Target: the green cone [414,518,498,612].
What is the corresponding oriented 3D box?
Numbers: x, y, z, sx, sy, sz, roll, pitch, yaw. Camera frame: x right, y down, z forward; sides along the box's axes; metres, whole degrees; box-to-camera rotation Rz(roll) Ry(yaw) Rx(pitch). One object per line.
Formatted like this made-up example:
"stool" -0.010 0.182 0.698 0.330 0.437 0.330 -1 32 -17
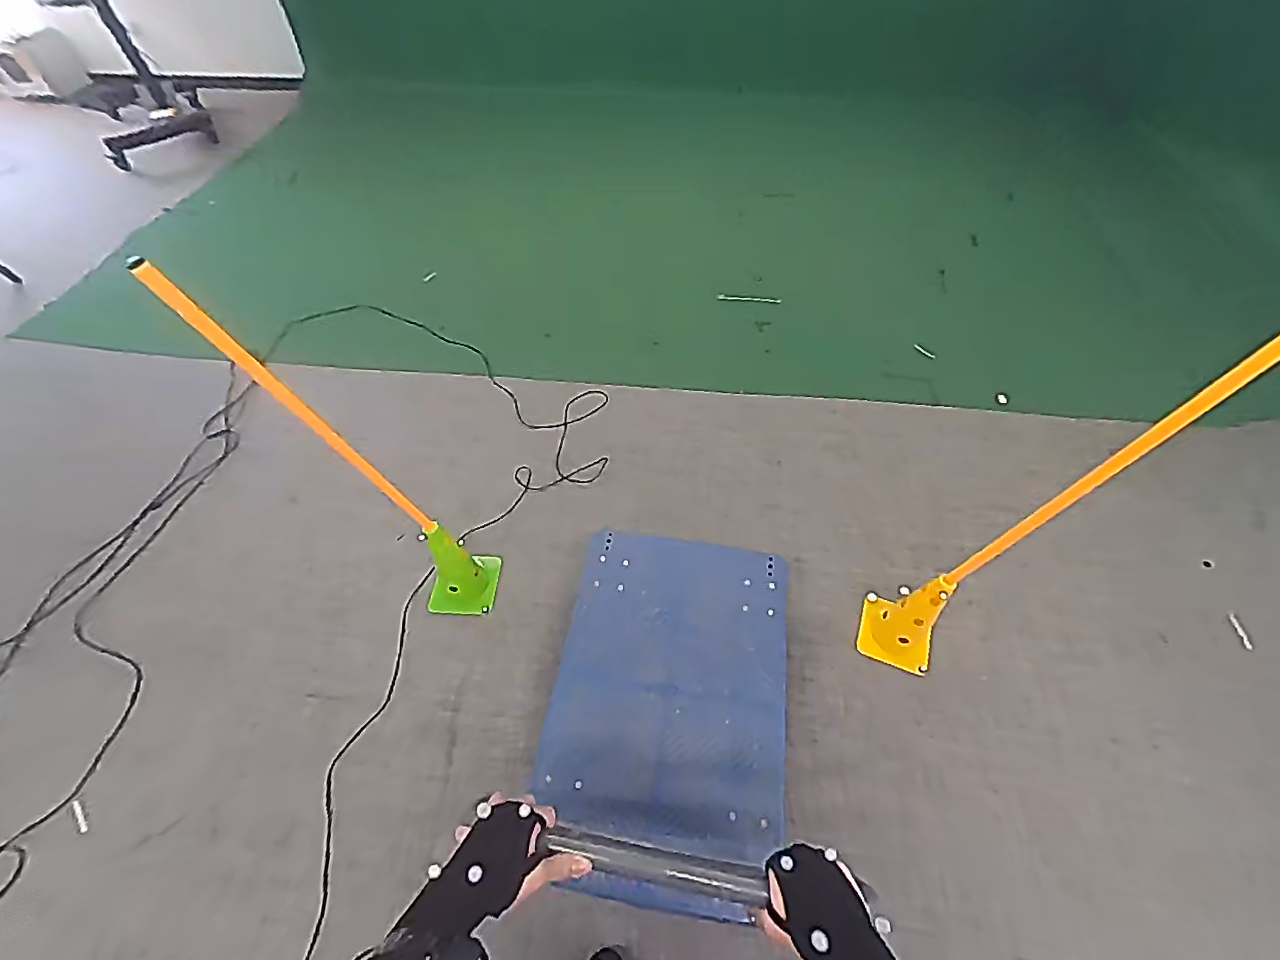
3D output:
"green cone" -0.566 0.219 1.571 0.202 0.368 0.200 0 53 3
